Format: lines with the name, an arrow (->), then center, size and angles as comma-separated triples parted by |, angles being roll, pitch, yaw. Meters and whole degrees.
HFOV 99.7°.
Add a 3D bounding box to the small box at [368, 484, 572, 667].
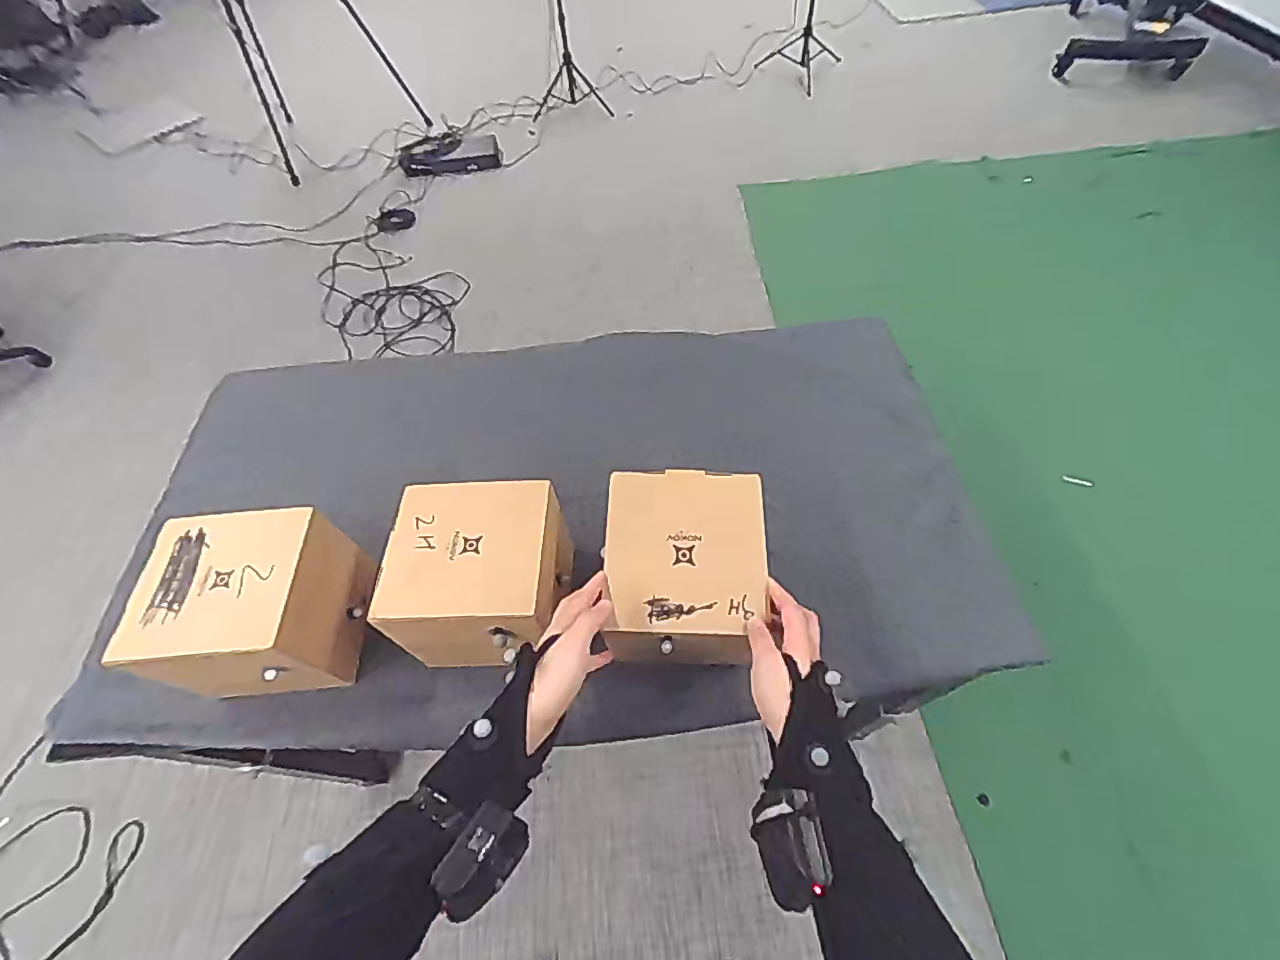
small box -> -0.183, 0.119, 0.651 | 0.179, 0.176, 0.168 | -2, 55, 4
